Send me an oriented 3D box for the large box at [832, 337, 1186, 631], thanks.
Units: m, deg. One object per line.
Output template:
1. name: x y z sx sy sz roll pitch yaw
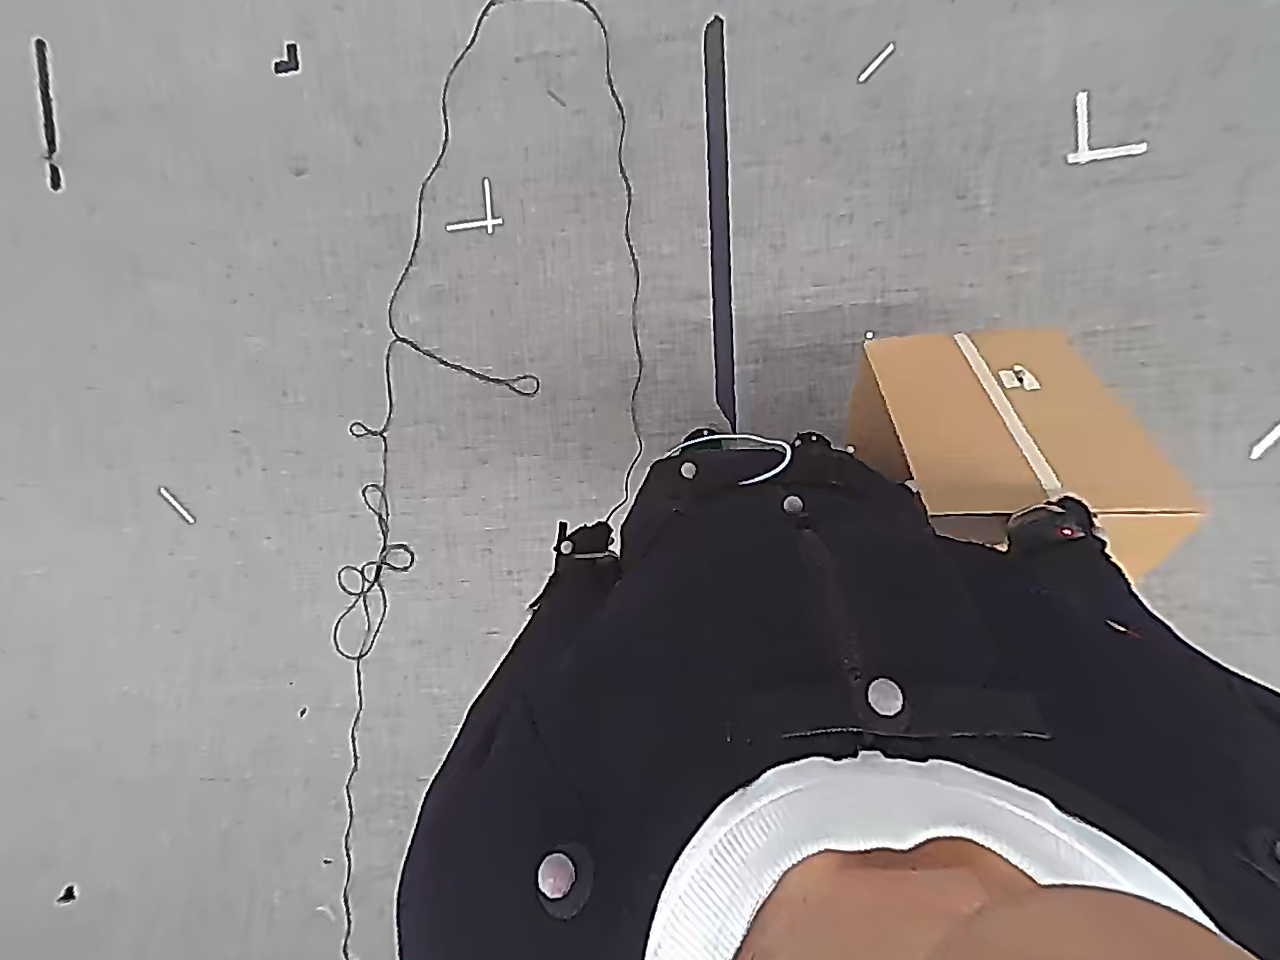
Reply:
1. large box: 0.542 0.003 0.916 0.320 0.408 0.320 0 135 5
